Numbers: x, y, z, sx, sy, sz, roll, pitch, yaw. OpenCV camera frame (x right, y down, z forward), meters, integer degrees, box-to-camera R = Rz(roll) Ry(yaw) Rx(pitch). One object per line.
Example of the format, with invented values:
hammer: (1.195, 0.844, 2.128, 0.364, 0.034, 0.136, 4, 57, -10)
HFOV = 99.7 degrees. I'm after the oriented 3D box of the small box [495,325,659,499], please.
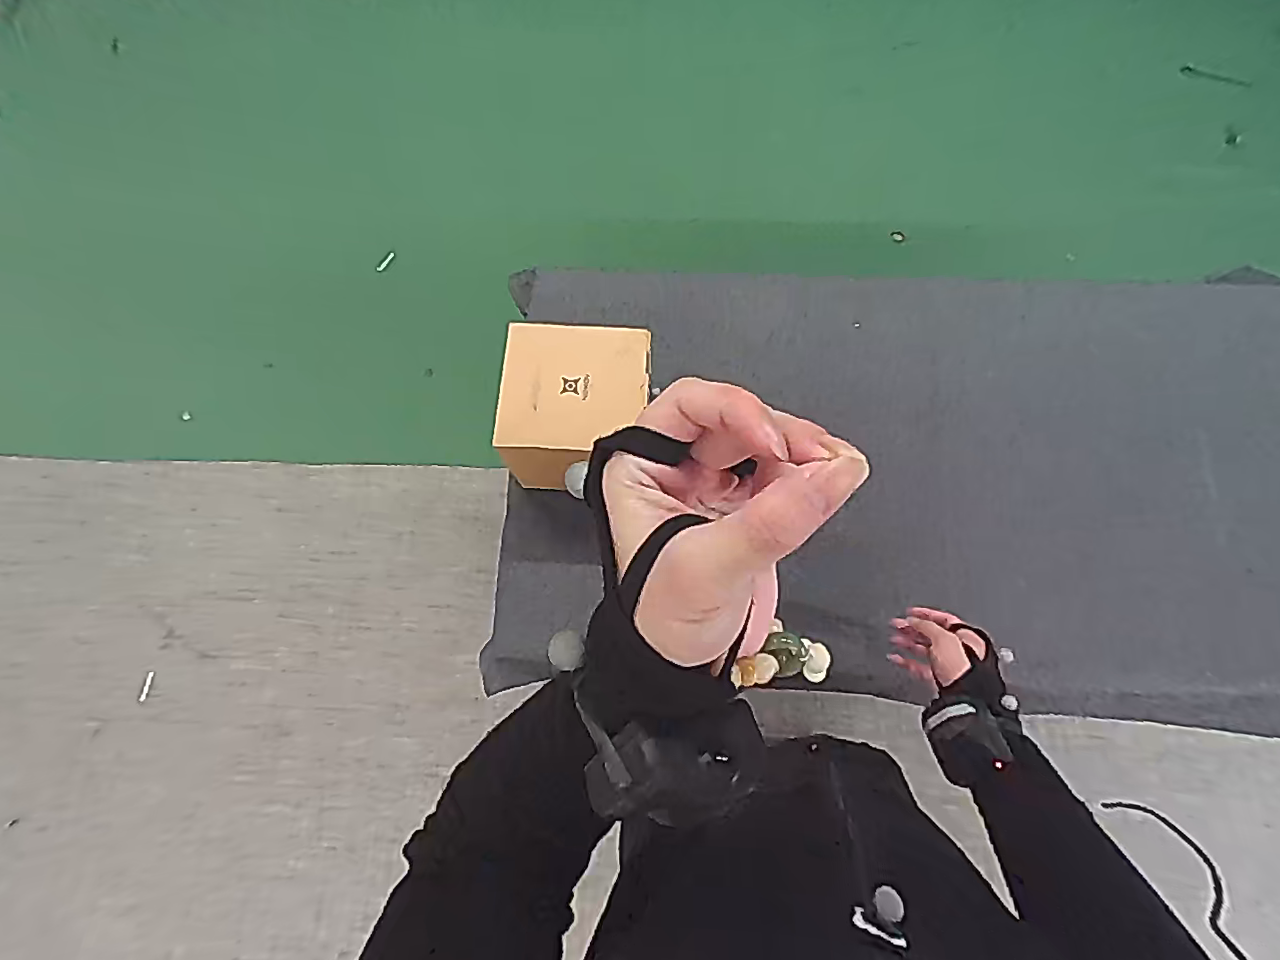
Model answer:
small box: (-0.070, -0.079, 0.706, 0.179, 0.176, 0.168, 5, 70, 2)
